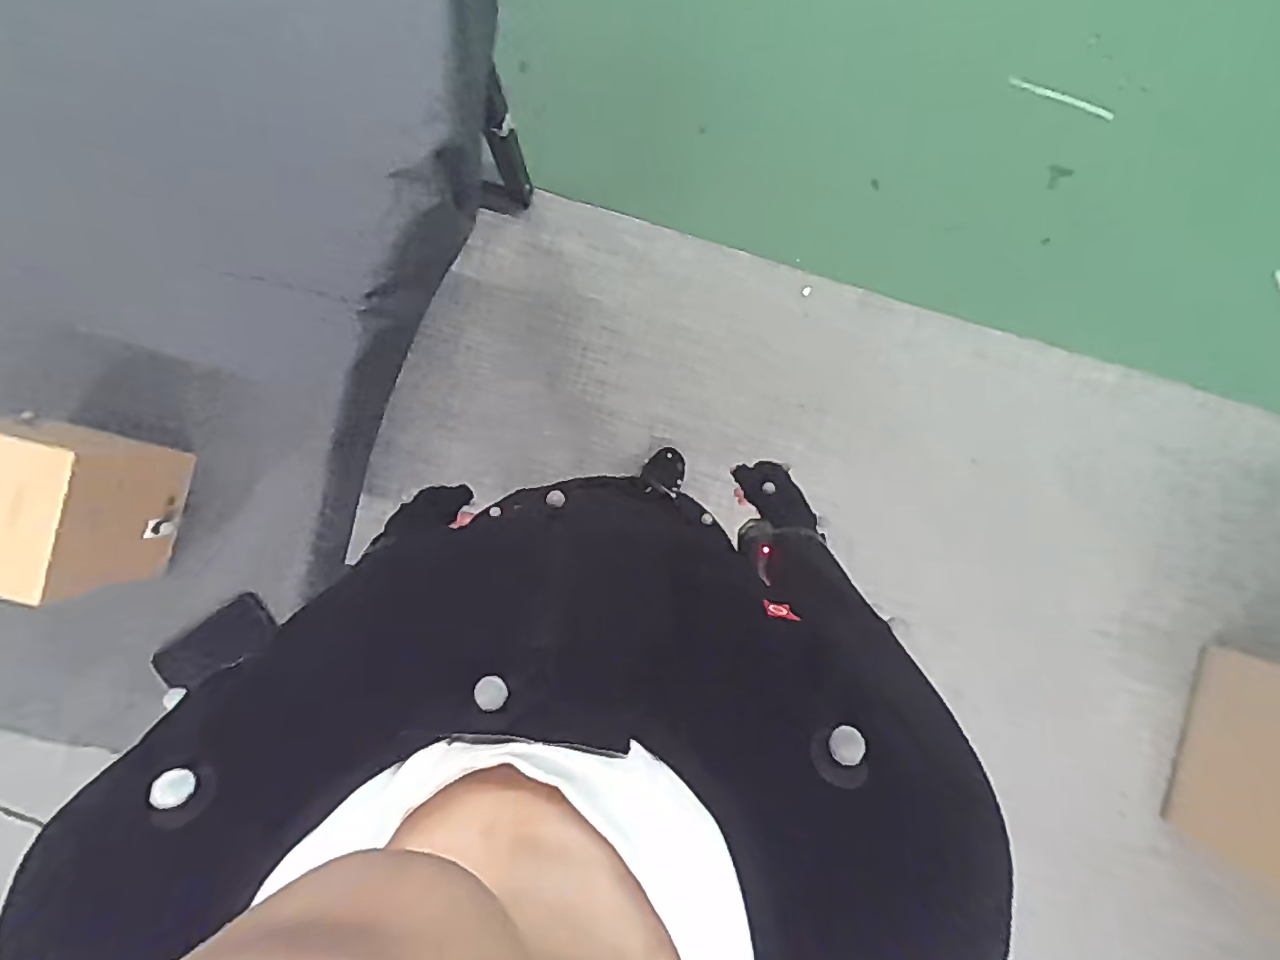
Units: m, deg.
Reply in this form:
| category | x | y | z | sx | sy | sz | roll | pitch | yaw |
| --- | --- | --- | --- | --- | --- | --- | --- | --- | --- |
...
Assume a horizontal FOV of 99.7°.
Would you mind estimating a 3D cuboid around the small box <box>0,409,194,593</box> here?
| category | x | y | z | sx | sy | sz | roll | pitch | yaw |
| --- | --- | --- | --- | --- | --- | --- | --- | --- | --- |
| small box | -0.686 | 0.016 | 0.631 | 0.179 | 0.176 | 0.168 | 14 | 92 | -4 |
